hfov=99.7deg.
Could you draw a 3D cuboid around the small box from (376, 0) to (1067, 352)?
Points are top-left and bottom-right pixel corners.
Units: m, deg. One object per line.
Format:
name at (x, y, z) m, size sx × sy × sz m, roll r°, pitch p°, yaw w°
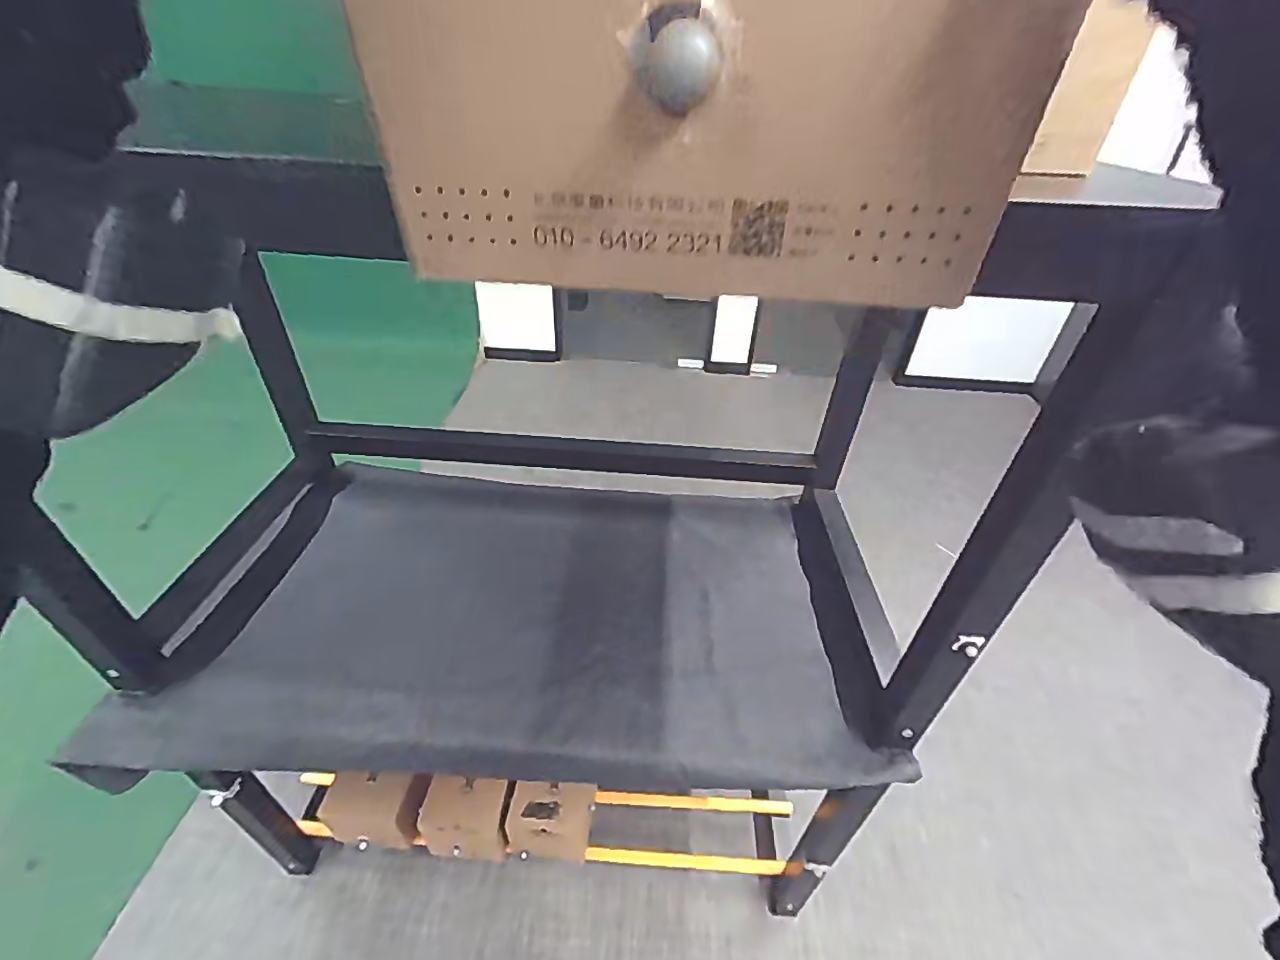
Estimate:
small box at (0.021, -0.163, 0.182) m, size 0.168 × 0.176 × 0.179 m, roll 5°, pitch 42°, yaw 6°
